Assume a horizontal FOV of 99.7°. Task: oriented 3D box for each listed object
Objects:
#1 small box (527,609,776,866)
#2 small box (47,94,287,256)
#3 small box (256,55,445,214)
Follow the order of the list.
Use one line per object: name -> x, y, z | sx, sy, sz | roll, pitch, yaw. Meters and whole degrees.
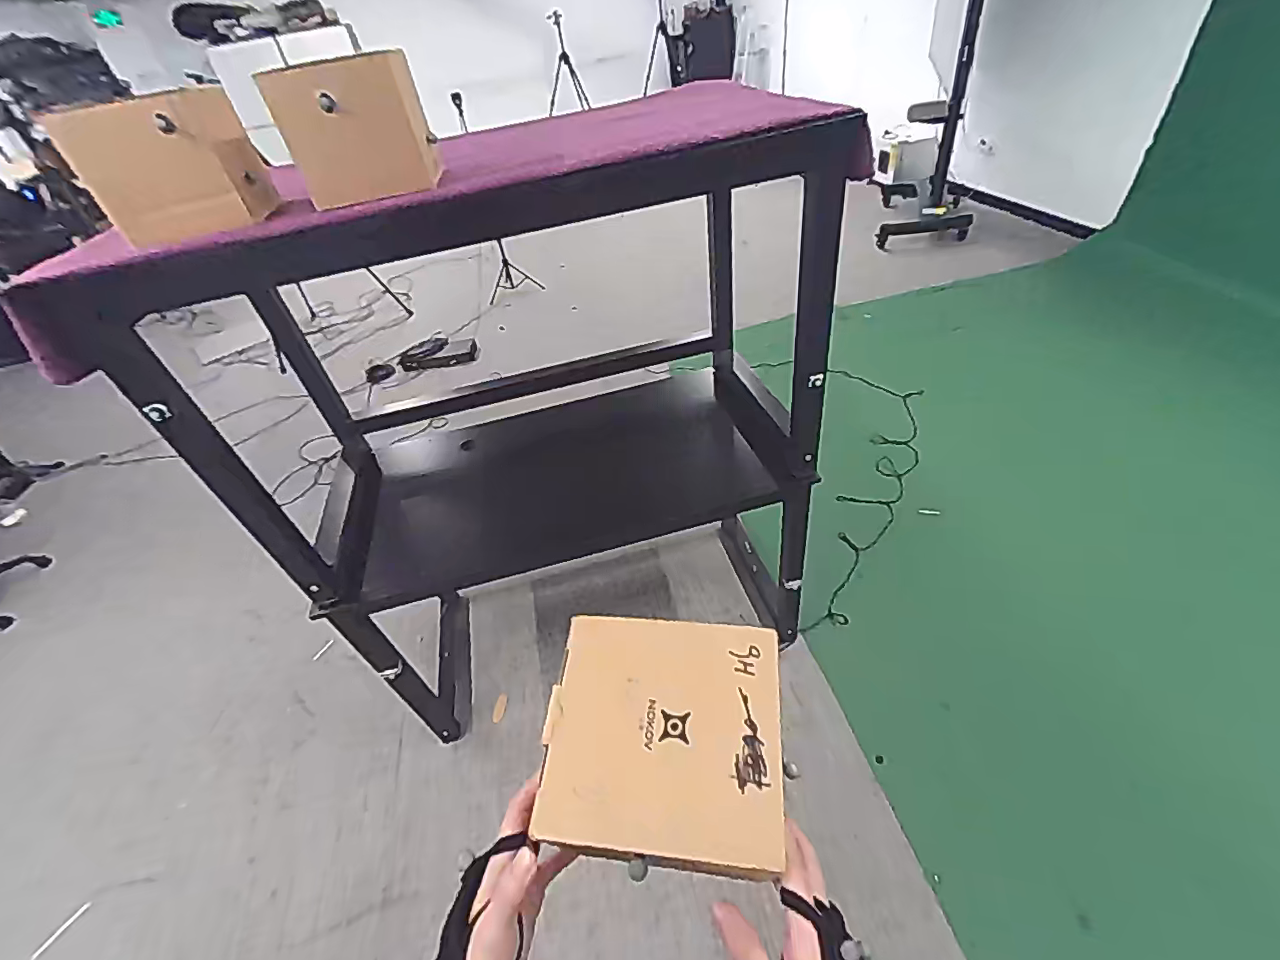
small box -> 0.025, 0.228, 0.476 | 0.179, 0.176, 0.168 | 1, 53, 10
small box -> -0.669, -0.447, 0.795 | 0.179, 0.176, 0.168 | -17, 41, -7
small box -> -0.417, -0.519, 0.816 | 0.179, 0.176, 0.168 | -14, 41, -3
